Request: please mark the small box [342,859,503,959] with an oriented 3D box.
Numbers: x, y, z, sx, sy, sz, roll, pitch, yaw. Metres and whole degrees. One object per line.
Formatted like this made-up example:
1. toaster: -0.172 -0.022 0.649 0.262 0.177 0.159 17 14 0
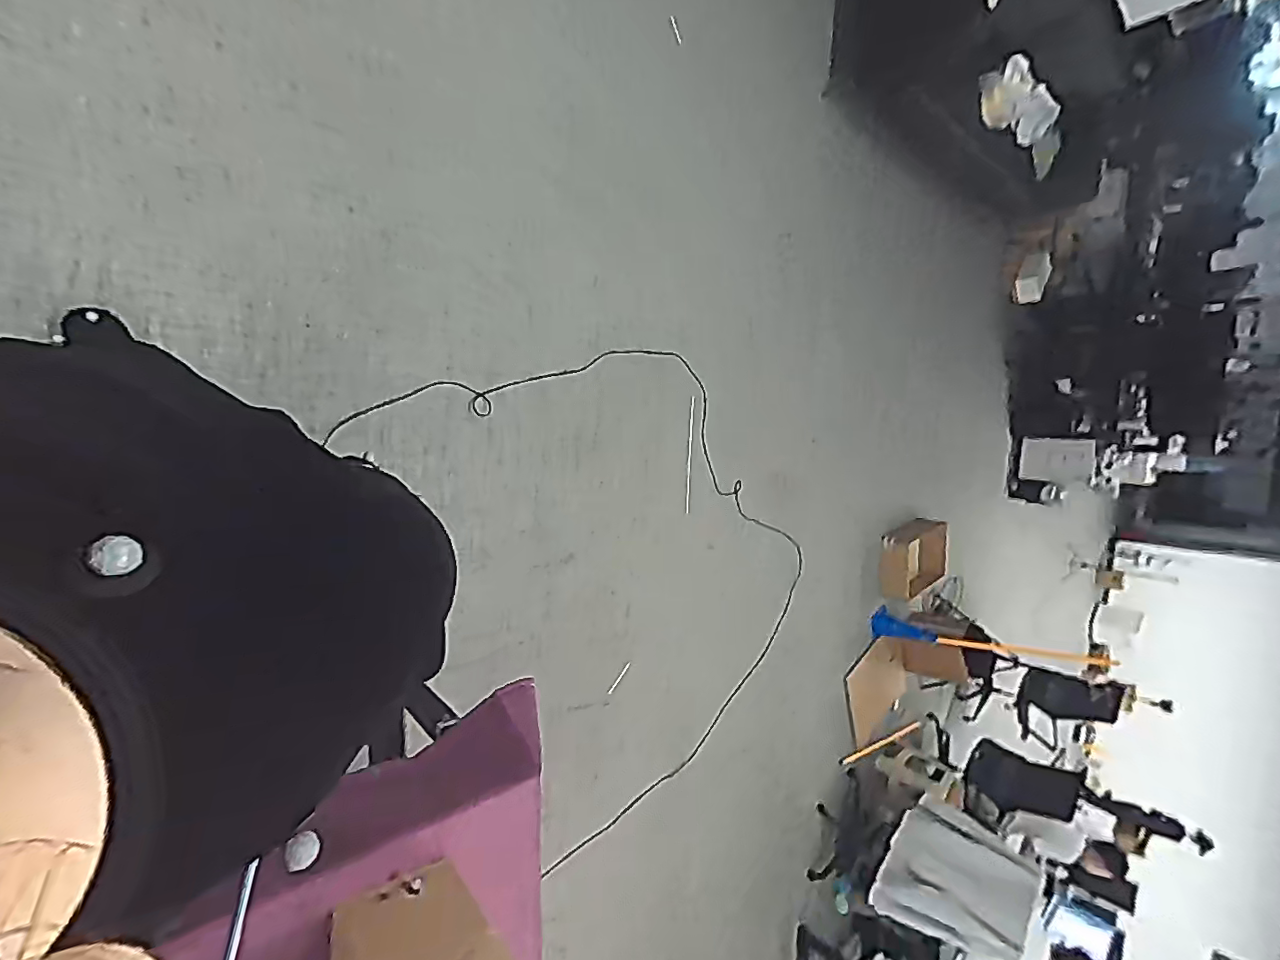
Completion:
1. small box: -0.311 0.694 0.762 0.168 0.176 0.179 2 93 -42
